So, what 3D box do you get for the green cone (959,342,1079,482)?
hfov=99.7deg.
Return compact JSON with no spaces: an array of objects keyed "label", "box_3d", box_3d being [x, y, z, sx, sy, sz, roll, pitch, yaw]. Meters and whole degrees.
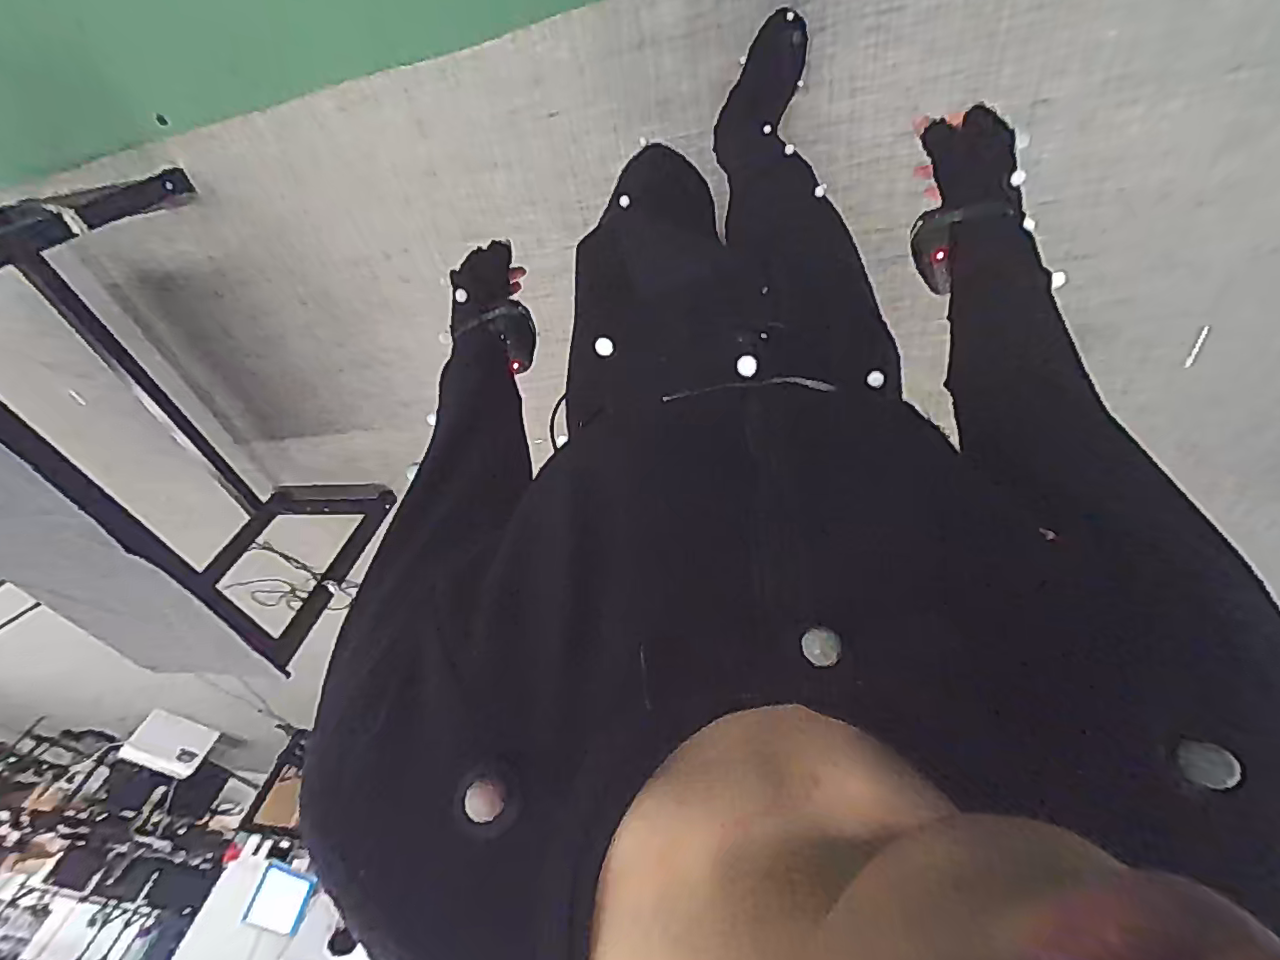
[{"label":"green cone","box_3d":[0.909,-0.137,1.239,0.200,0.368,0.202,6,134,8]}]
